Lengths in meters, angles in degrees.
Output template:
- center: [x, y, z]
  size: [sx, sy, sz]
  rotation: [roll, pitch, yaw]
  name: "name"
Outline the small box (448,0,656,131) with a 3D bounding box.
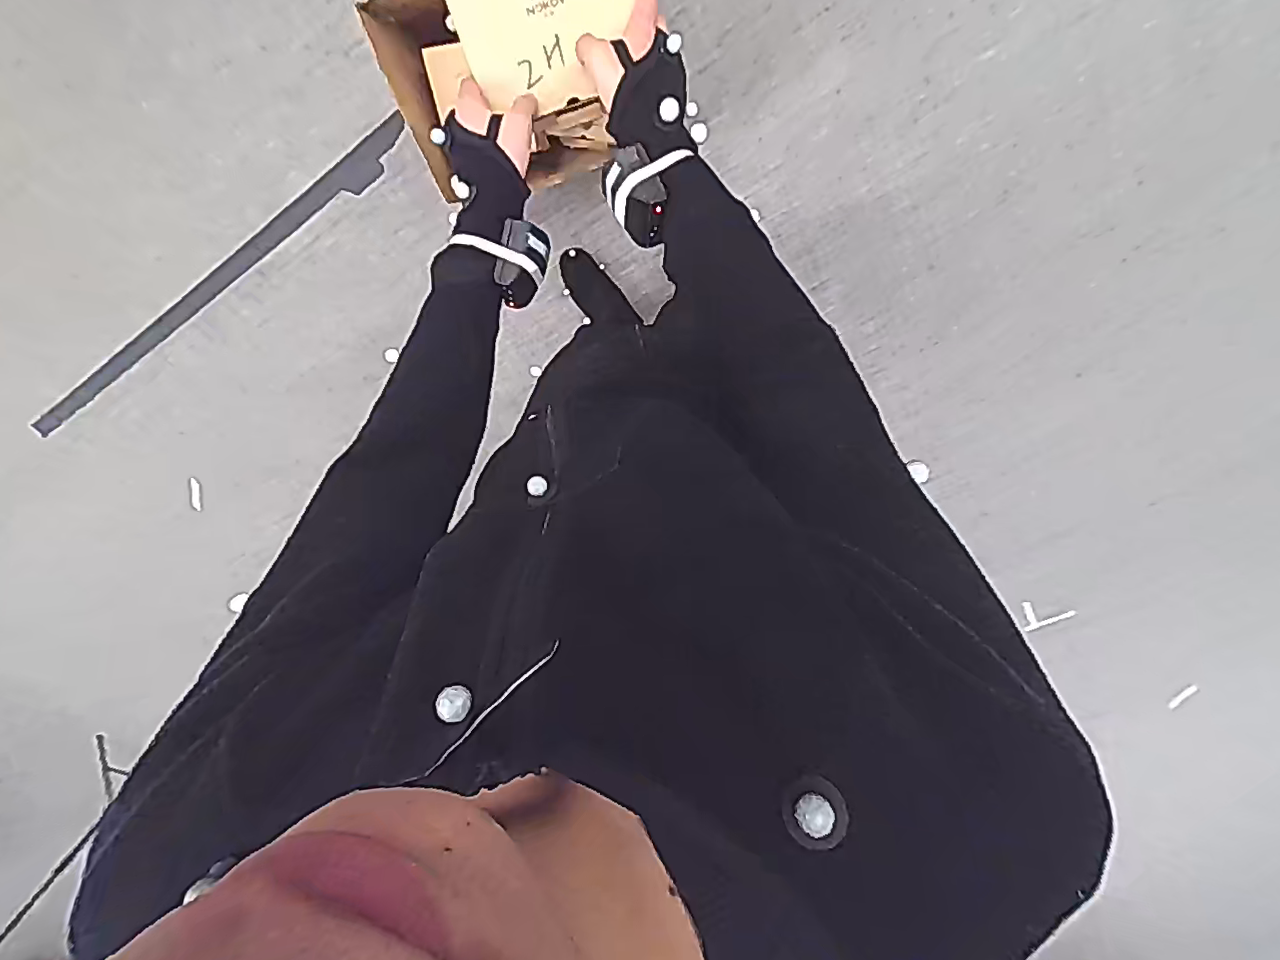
- center: [-0.087, -0.468, 0.534]
  size: [0.168, 0.176, 0.179]
  rotation: [-14, 122, 8]
  name: "small box"
